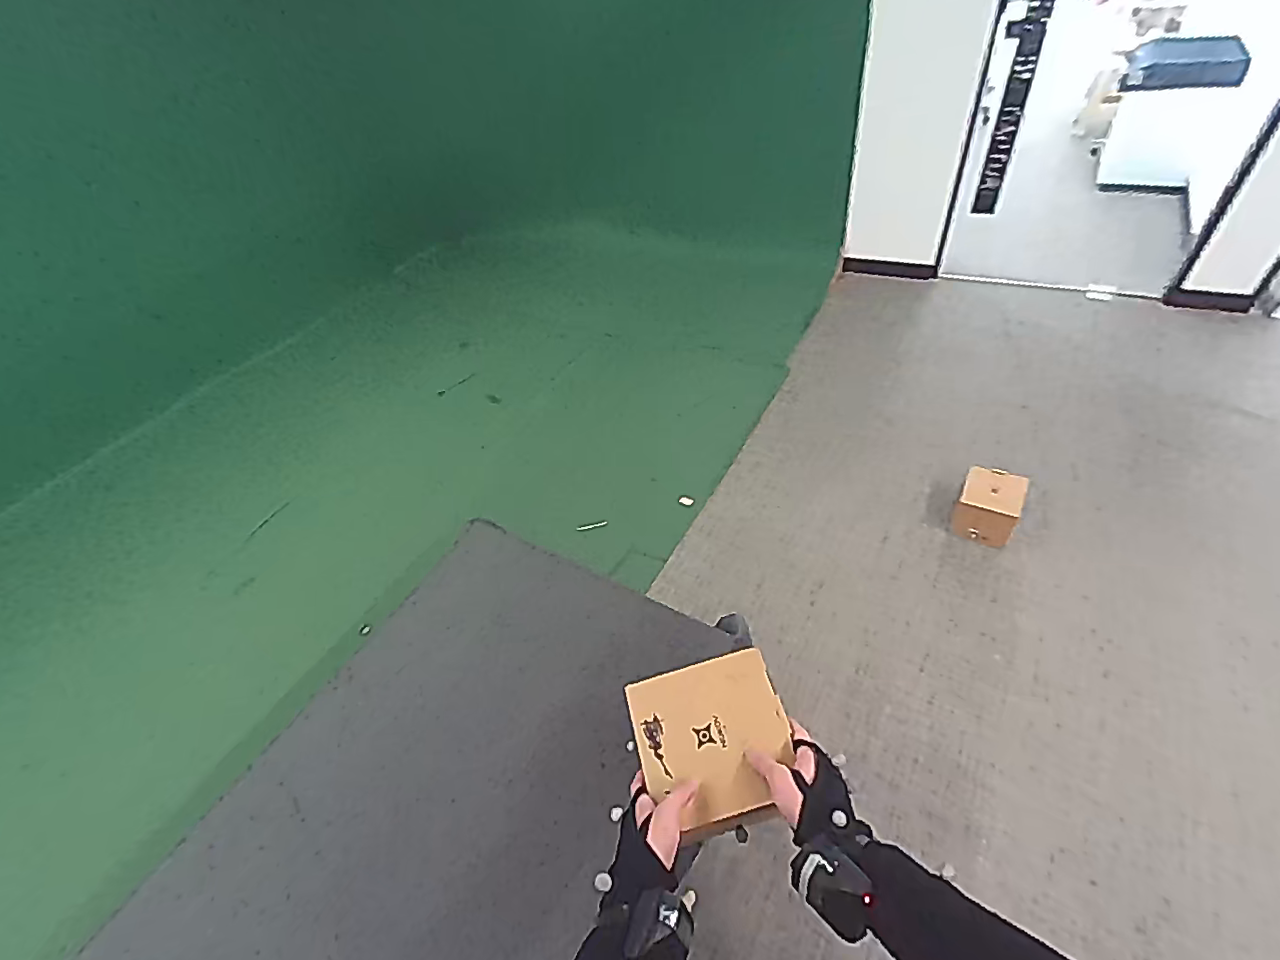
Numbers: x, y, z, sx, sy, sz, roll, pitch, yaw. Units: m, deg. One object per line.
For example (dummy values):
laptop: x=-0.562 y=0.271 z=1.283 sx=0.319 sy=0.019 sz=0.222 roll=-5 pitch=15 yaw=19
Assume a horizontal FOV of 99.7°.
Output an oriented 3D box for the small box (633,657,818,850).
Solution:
small box: x=0.101 y=0.348 z=0.683 sx=0.179 sy=0.176 sz=0.168 roll=-15 pitch=52 yaw=-1

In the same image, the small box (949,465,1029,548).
small box: x=1.116 y=0.085 z=1.736 sx=0.168 sy=0.176 sz=0.179 roll=19 pitch=54 yaw=30
